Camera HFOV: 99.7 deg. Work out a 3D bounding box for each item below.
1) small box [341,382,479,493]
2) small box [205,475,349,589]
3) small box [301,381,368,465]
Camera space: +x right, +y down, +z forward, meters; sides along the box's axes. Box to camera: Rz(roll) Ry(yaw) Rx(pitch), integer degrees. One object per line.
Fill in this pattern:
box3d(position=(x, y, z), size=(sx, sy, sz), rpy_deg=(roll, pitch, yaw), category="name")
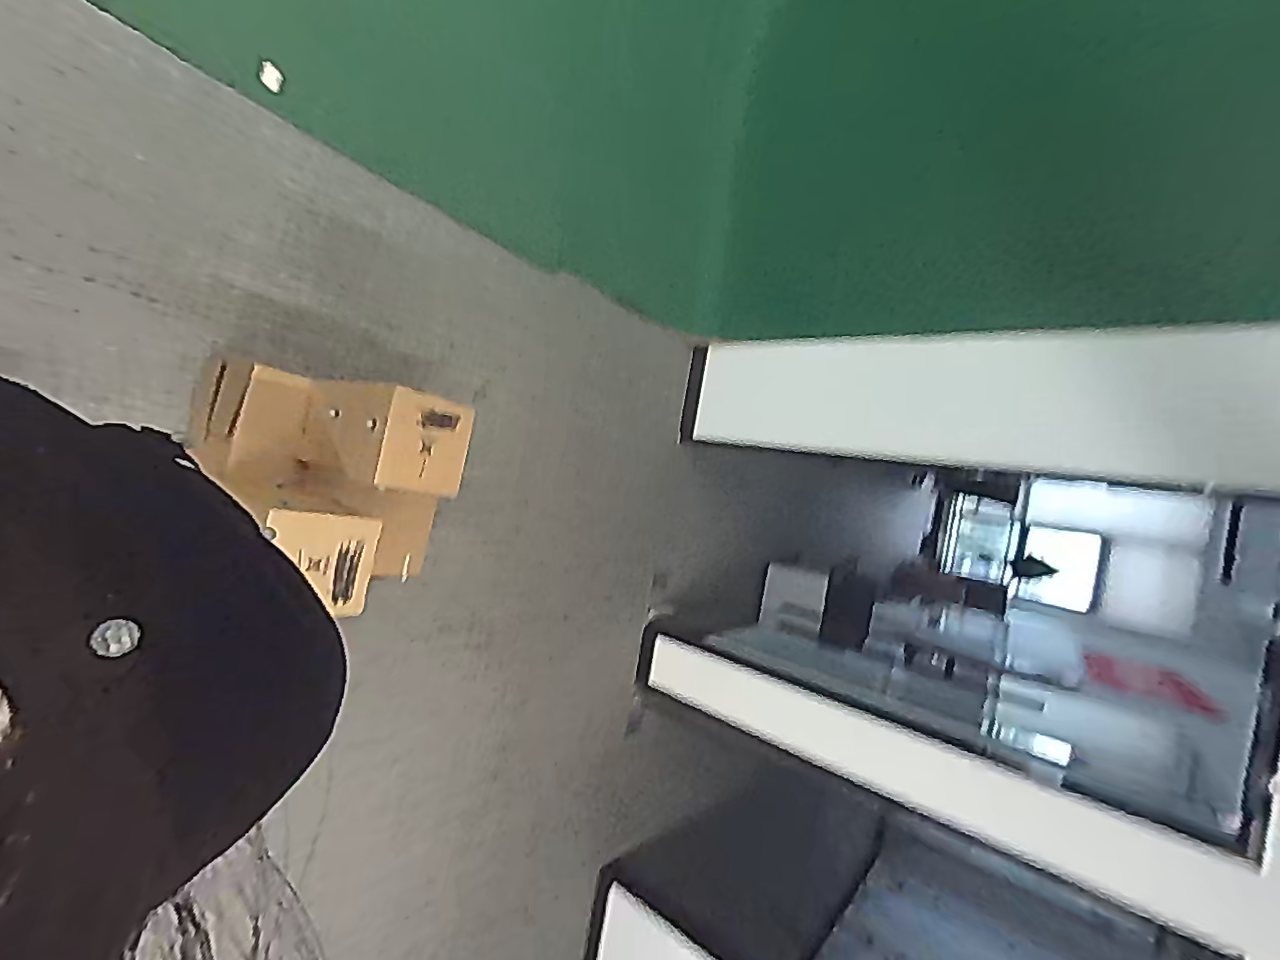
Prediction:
box3d(position=(-0.436, -0.080, 1.023), size=(0.168, 0.176, 0.179), rpy_deg=(14, 85, -53), category="small box")
box3d(position=(-0.684, 0.096, 1.015), size=(0.168, 0.176, 0.179), rpy_deg=(13, 88, -53), category="small box")
box3d(position=(-0.564, -0.106, 1.126), size=(0.179, 0.176, 0.168), rpy_deg=(15, 85, -54), category="small box")
